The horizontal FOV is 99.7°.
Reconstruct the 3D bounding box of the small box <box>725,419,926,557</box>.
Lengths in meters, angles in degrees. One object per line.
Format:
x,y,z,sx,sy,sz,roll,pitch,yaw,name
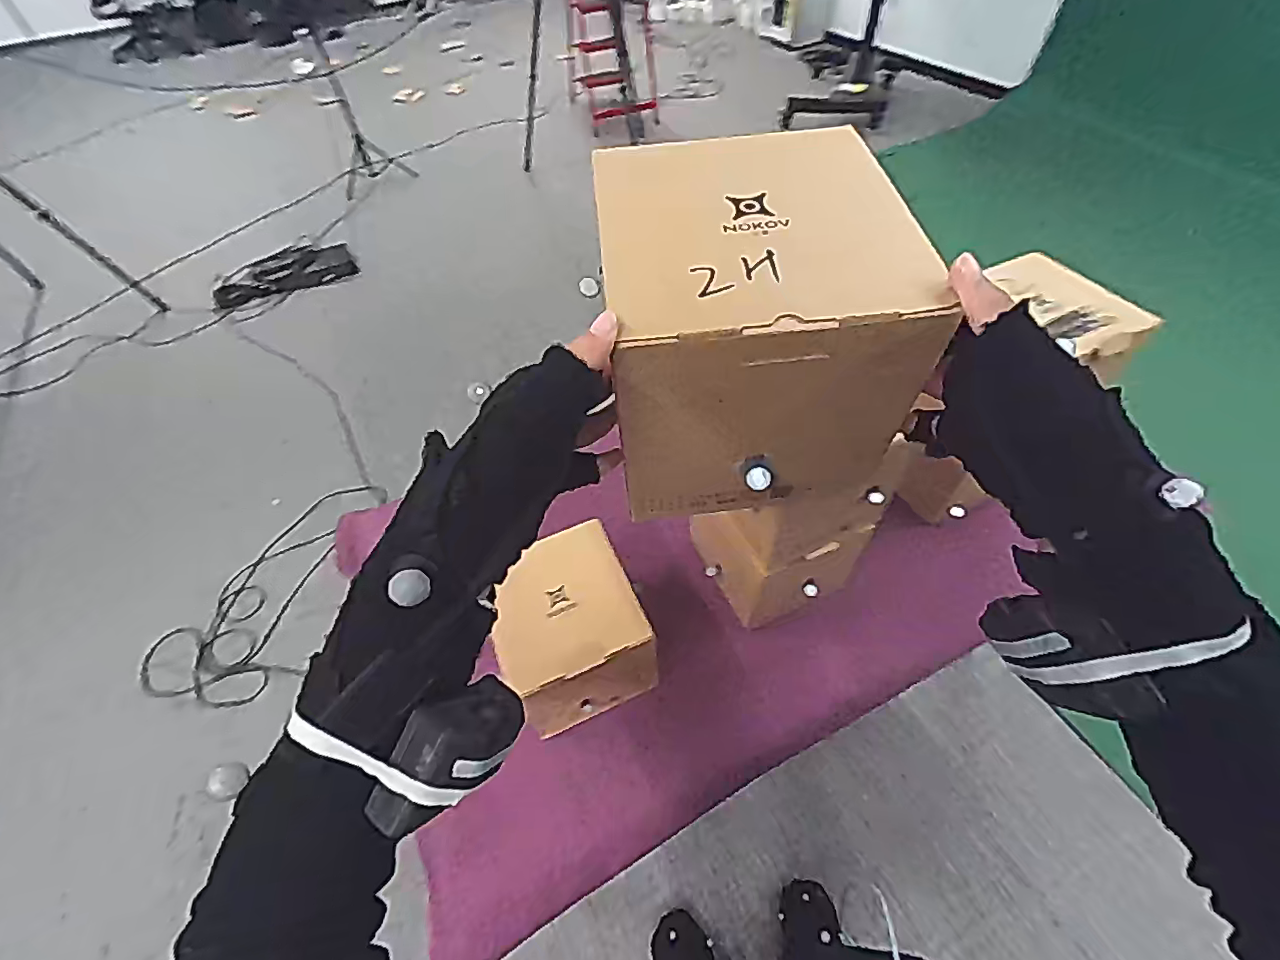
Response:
0.179,-0.032,0.625,0.168,0.176,0.179,-22,55,-13,small box

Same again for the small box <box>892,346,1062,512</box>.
0.480,-0.071,0.839,0.168,0.176,0.179,-20,55,-13,small box

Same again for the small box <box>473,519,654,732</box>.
-0.092,0.185,0.682,0.168,0.176,0.179,-21,55,-13,small box

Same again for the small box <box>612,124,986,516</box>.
0.070,-0.096,0.352,0.168,0.176,0.179,-5,58,0,small box

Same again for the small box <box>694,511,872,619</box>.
0.186,0.073,0.754,0.168,0.176,0.179,-24,54,-9,small box
